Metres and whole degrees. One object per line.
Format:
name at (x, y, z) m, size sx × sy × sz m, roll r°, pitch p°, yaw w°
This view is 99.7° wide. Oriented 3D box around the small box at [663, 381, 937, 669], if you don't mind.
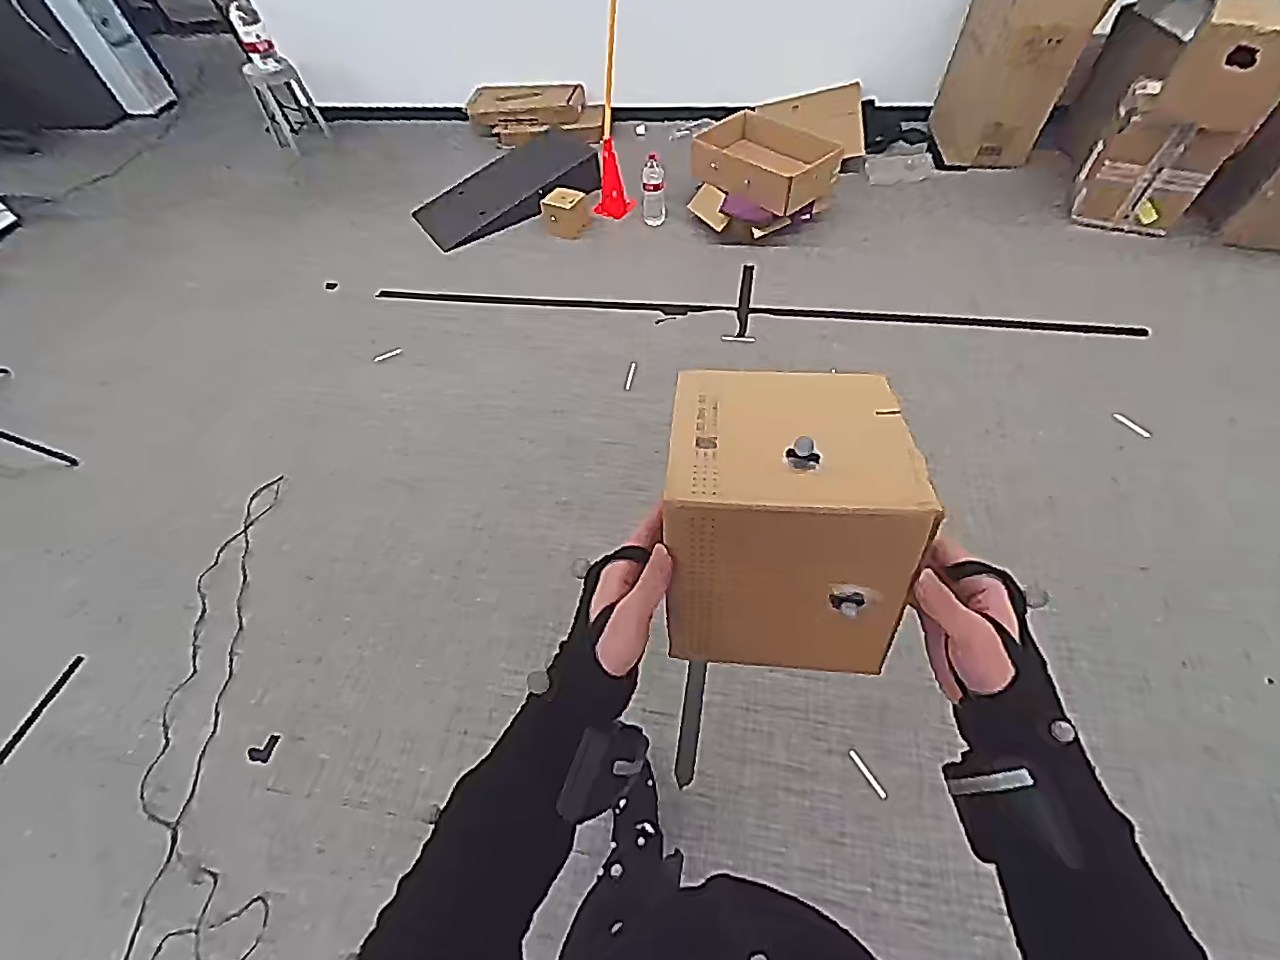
small box at (0.108, 0.033, 0.444) m, size 0.176 × 0.179 × 0.168 m, roll 3°, pitch 39°, yaw 7°
